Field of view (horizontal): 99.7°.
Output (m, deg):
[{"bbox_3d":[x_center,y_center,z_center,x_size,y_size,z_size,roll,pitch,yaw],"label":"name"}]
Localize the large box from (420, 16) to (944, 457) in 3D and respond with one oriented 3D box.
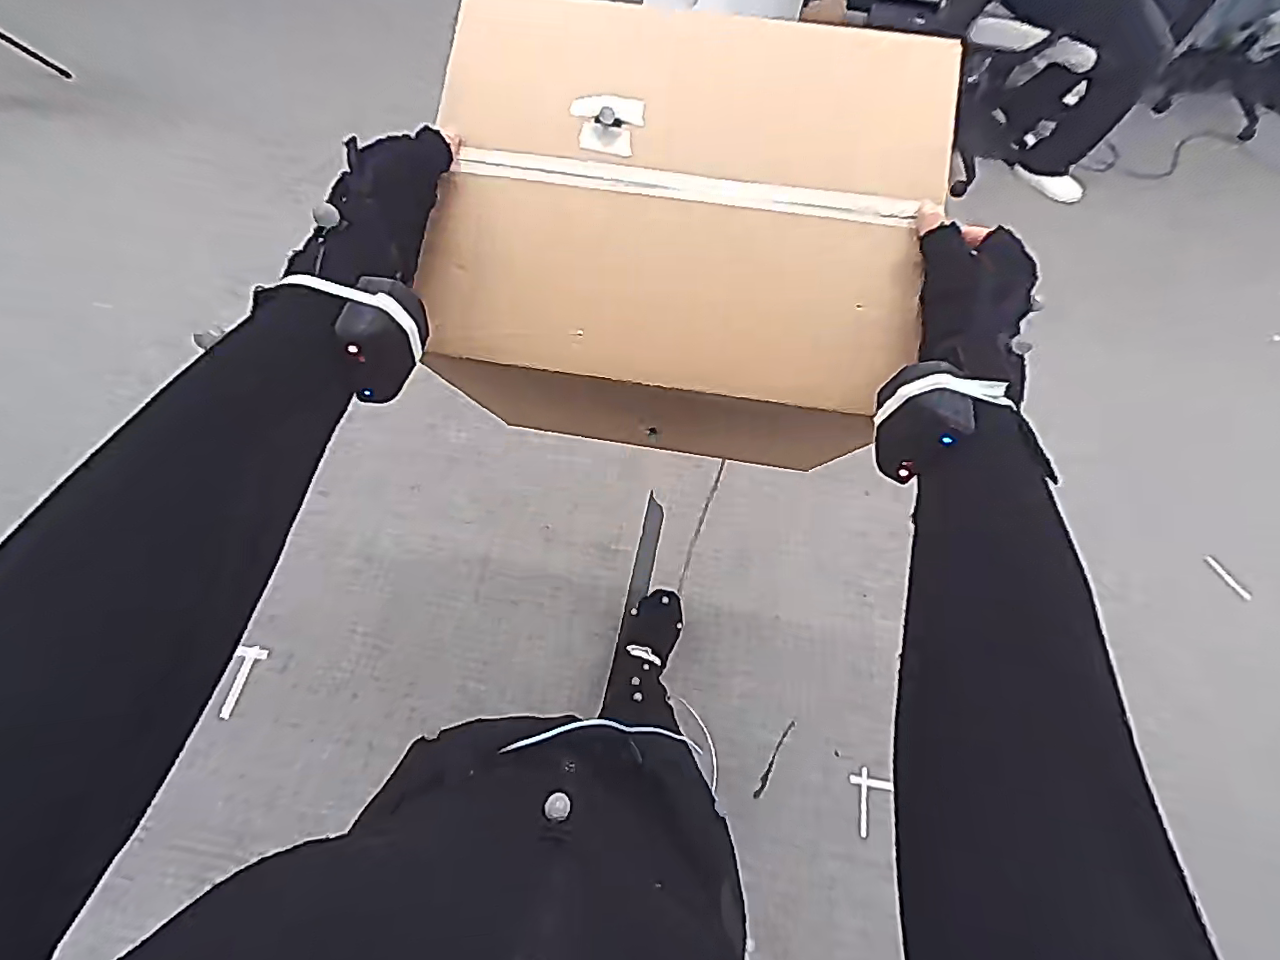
[{"bbox_3d":[0.045,-0.216,0.593,0.408,0.320,0.320,9,84,4],"label":"large box"}]
